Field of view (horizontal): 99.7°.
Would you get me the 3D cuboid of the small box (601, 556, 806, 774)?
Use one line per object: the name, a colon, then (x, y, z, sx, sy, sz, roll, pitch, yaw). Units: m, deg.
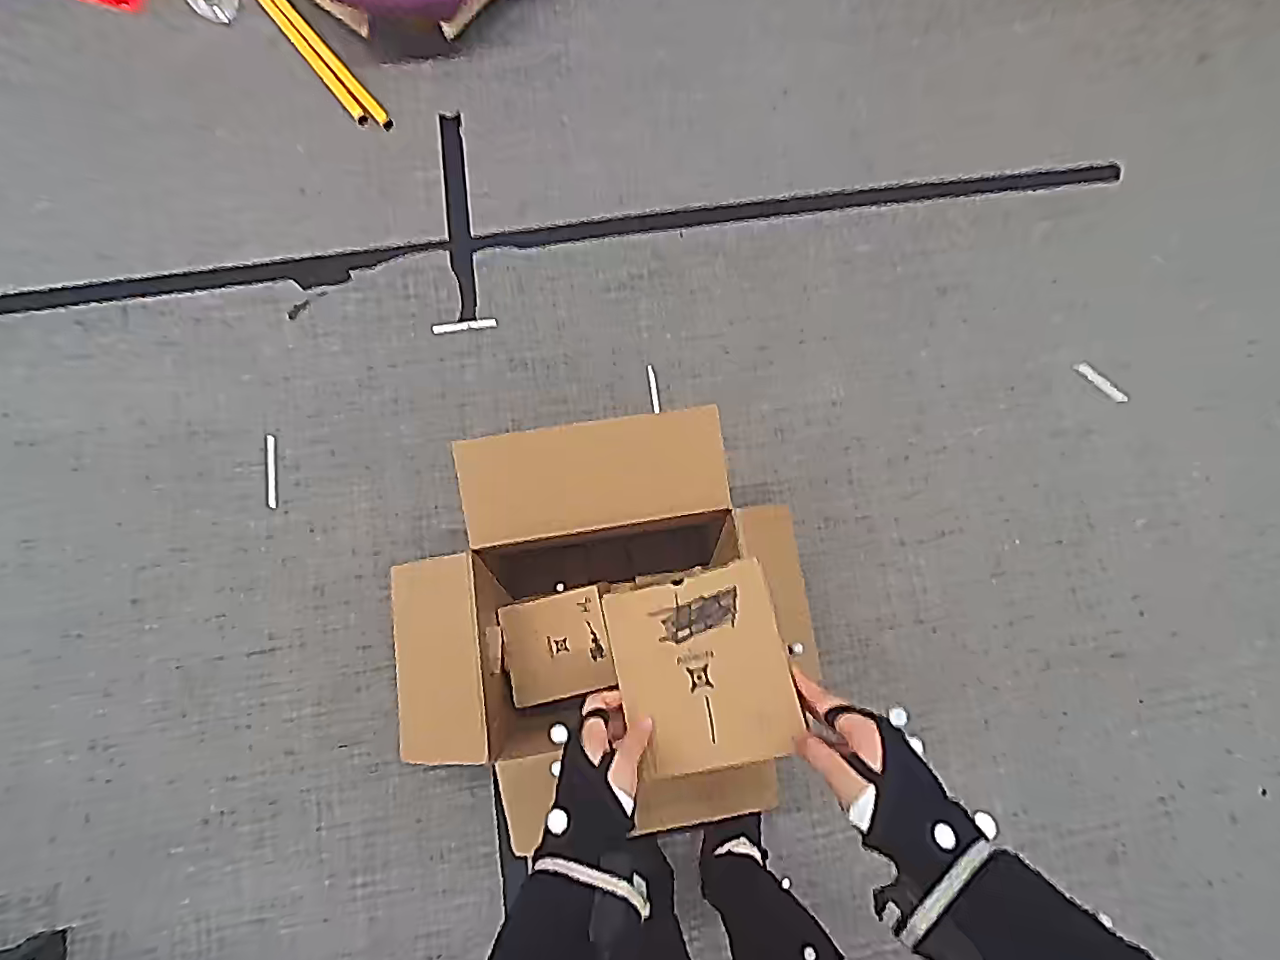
small box: (0.074, 0.193, 0.592, 0.168, 0.176, 0.179, -17, 74, 12)
